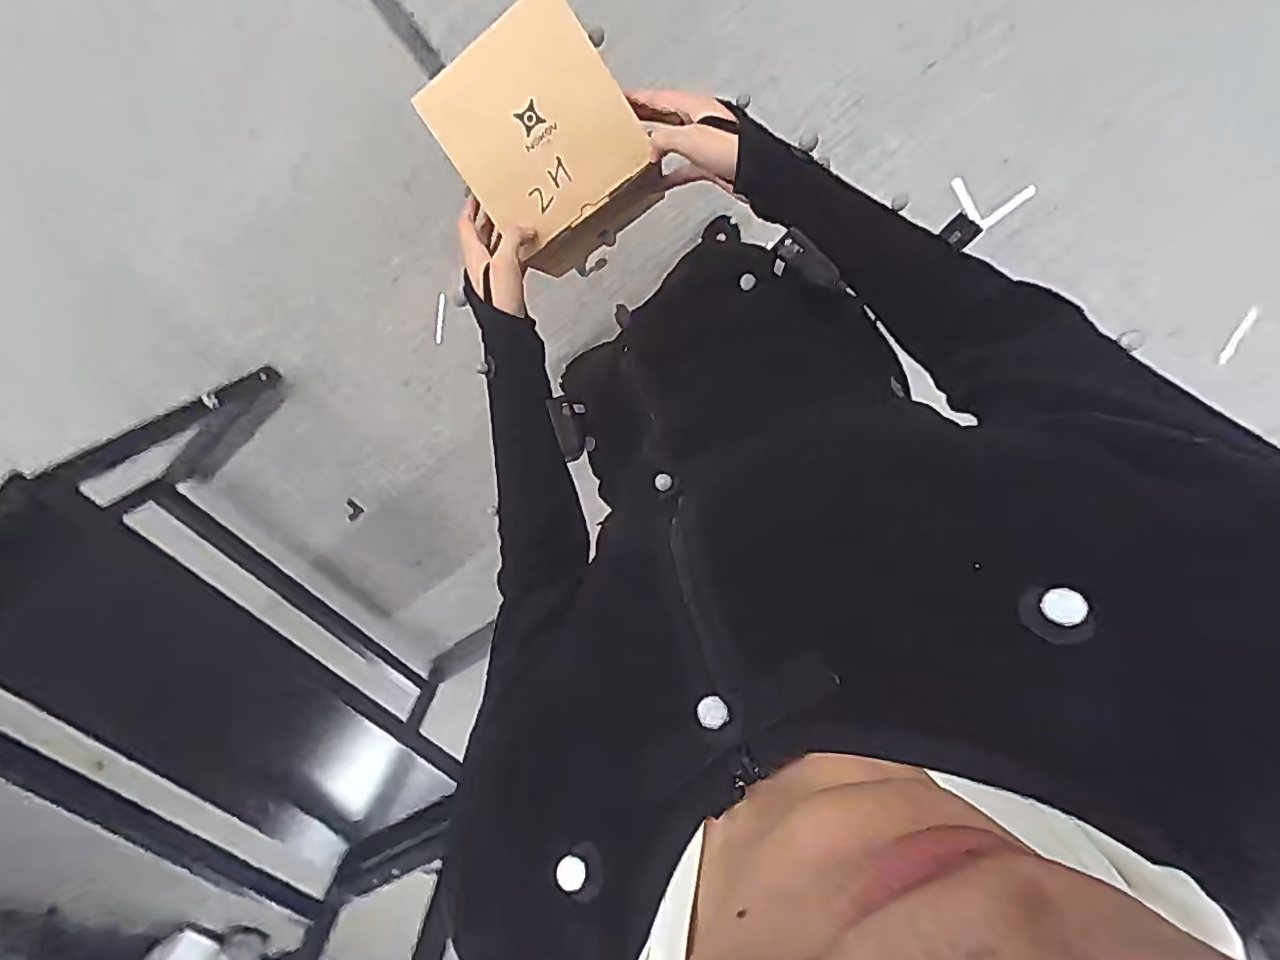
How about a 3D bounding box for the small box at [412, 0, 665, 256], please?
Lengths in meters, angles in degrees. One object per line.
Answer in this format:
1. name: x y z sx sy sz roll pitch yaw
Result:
1. small box: -0.088 -0.359 0.558 0.168 0.176 0.179 -32 101 12
